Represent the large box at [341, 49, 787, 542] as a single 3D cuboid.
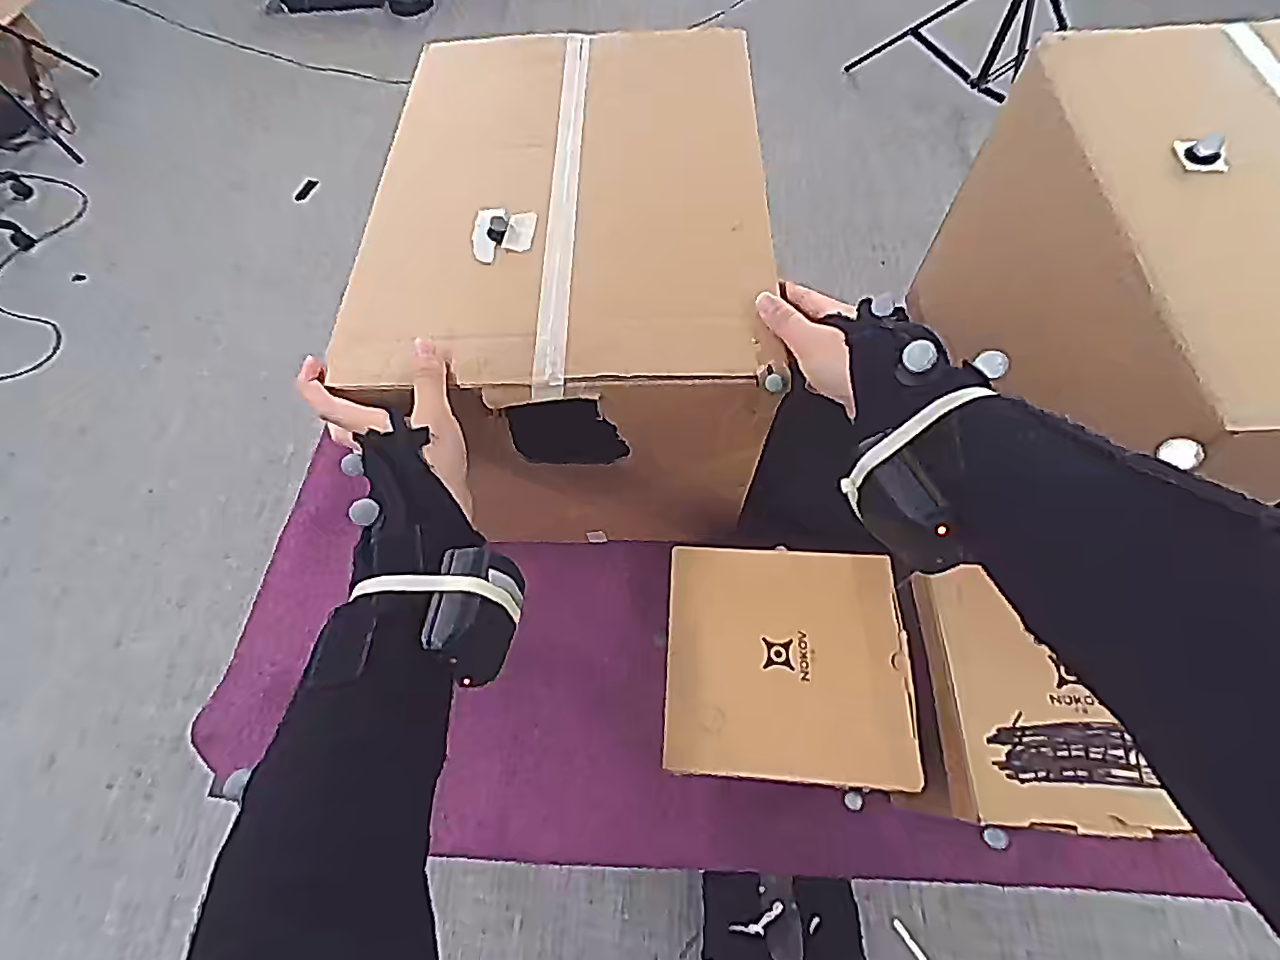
[{"bbox_3d":[-0.052,-0.170,0.579,0.320,0.320,0.408,-2,66,3],"label":"large box"}]
